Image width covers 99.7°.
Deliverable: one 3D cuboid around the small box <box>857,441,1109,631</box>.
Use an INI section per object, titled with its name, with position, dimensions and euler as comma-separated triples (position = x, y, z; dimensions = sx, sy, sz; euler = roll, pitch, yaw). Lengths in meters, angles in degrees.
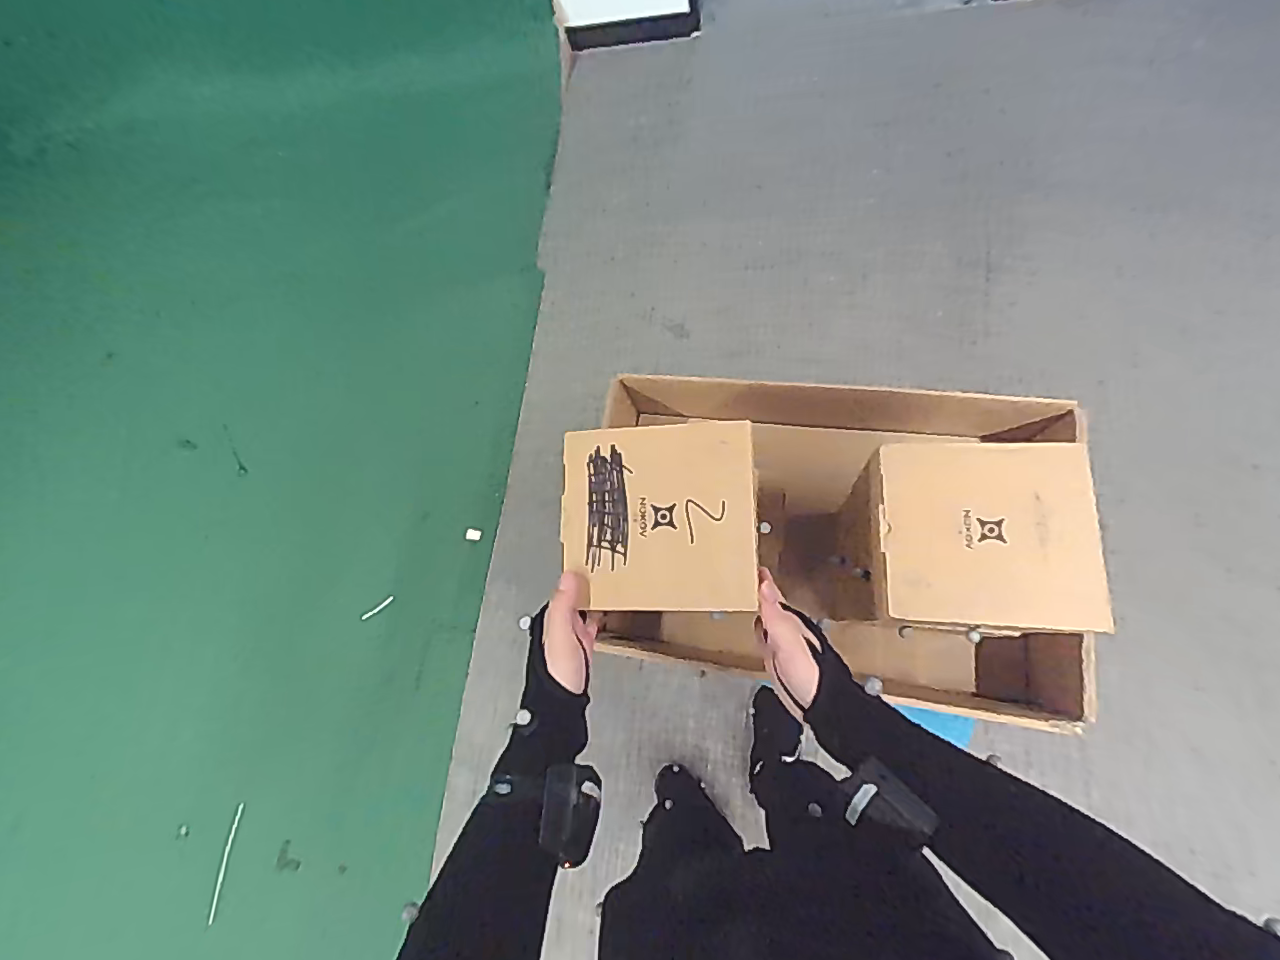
[small box]
position = 0.323, 0.064, 0.554
dimensions = 0.179, 0.176, 0.168
euler = 1, 76, 14
